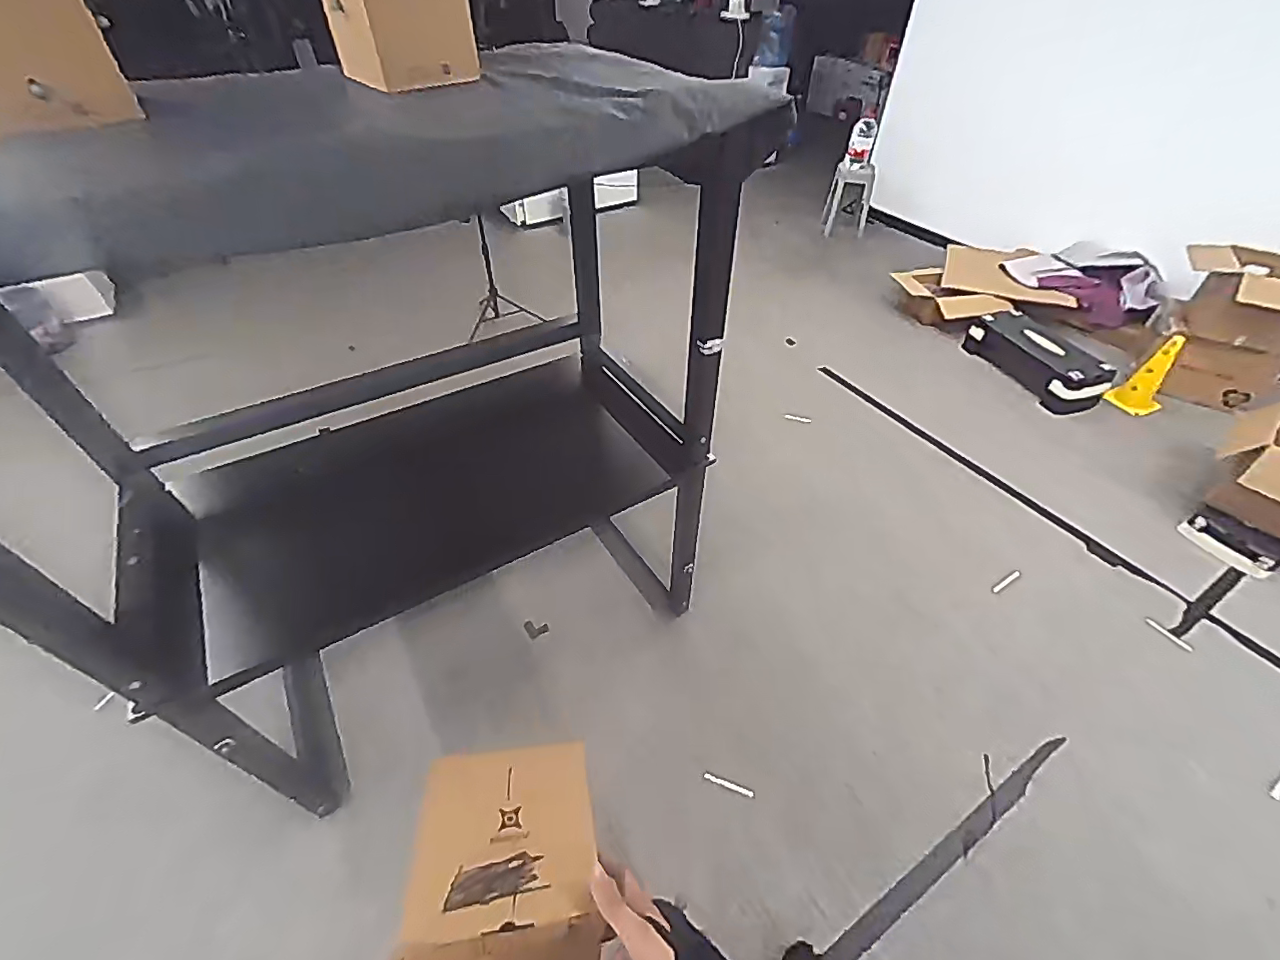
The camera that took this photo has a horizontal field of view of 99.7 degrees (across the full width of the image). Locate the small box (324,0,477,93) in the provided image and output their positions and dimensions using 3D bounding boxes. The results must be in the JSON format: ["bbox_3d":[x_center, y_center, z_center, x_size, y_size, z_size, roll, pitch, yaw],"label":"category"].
[{"bbox_3d":[-0.382,-0.726,0.850,0.168,0.176,0.179,-33,54,-28],"label":"small box"}]

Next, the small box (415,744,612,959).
[{"bbox_3d":[-0.126,0.413,0.559,0.168,0.176,0.179,-1,27,-14],"label":"small box"}]
